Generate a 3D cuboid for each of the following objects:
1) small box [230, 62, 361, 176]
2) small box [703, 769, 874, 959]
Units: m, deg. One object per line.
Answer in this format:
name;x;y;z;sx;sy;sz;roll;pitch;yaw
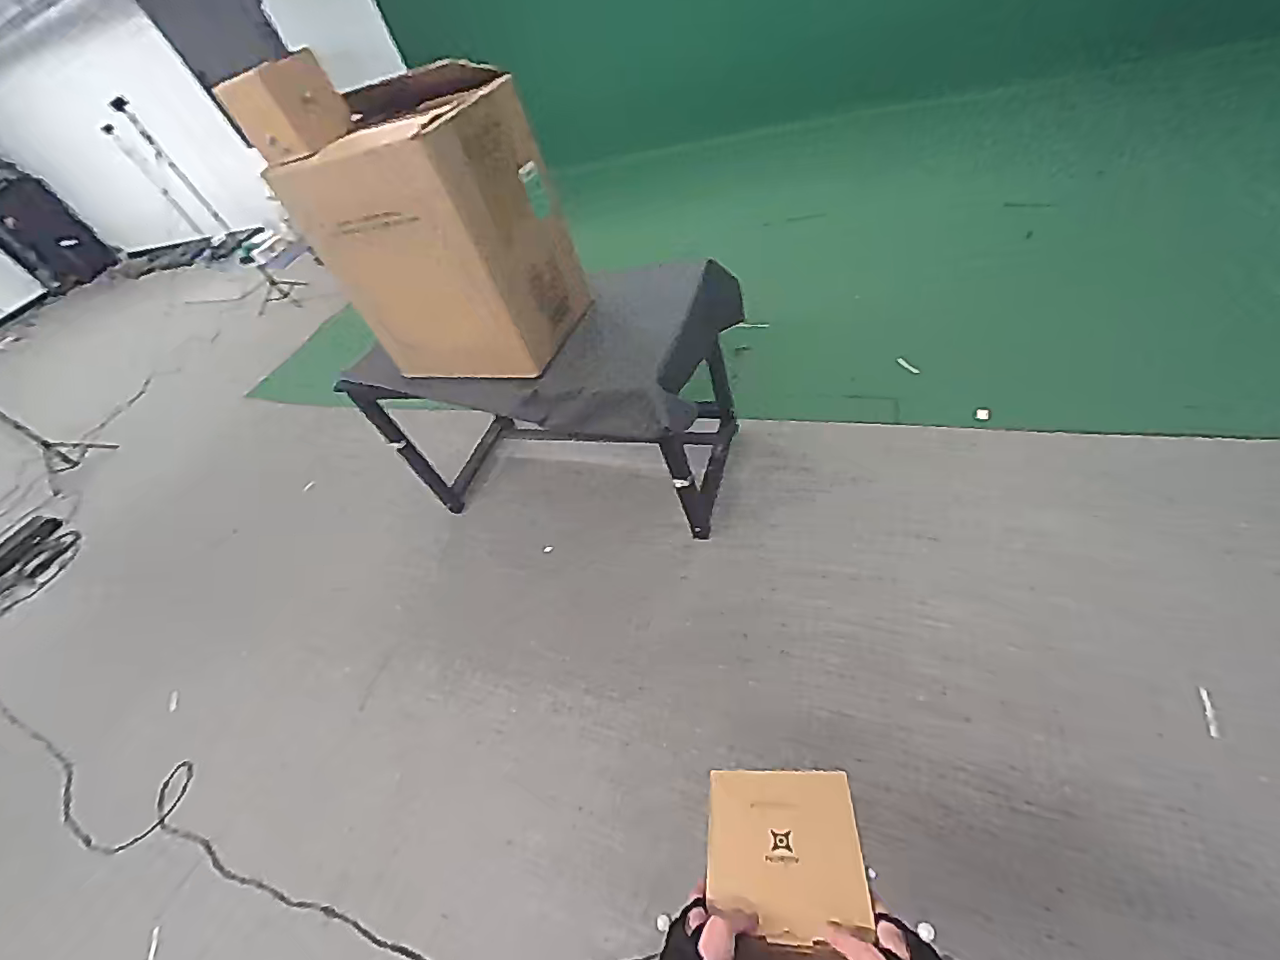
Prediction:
small box;-0.808;-0.858;1.295;0.168;0.176;0.179;5;52;27
small box;0.170;0.471;0.631;0.168;0.176;0.179;-7;25;12
